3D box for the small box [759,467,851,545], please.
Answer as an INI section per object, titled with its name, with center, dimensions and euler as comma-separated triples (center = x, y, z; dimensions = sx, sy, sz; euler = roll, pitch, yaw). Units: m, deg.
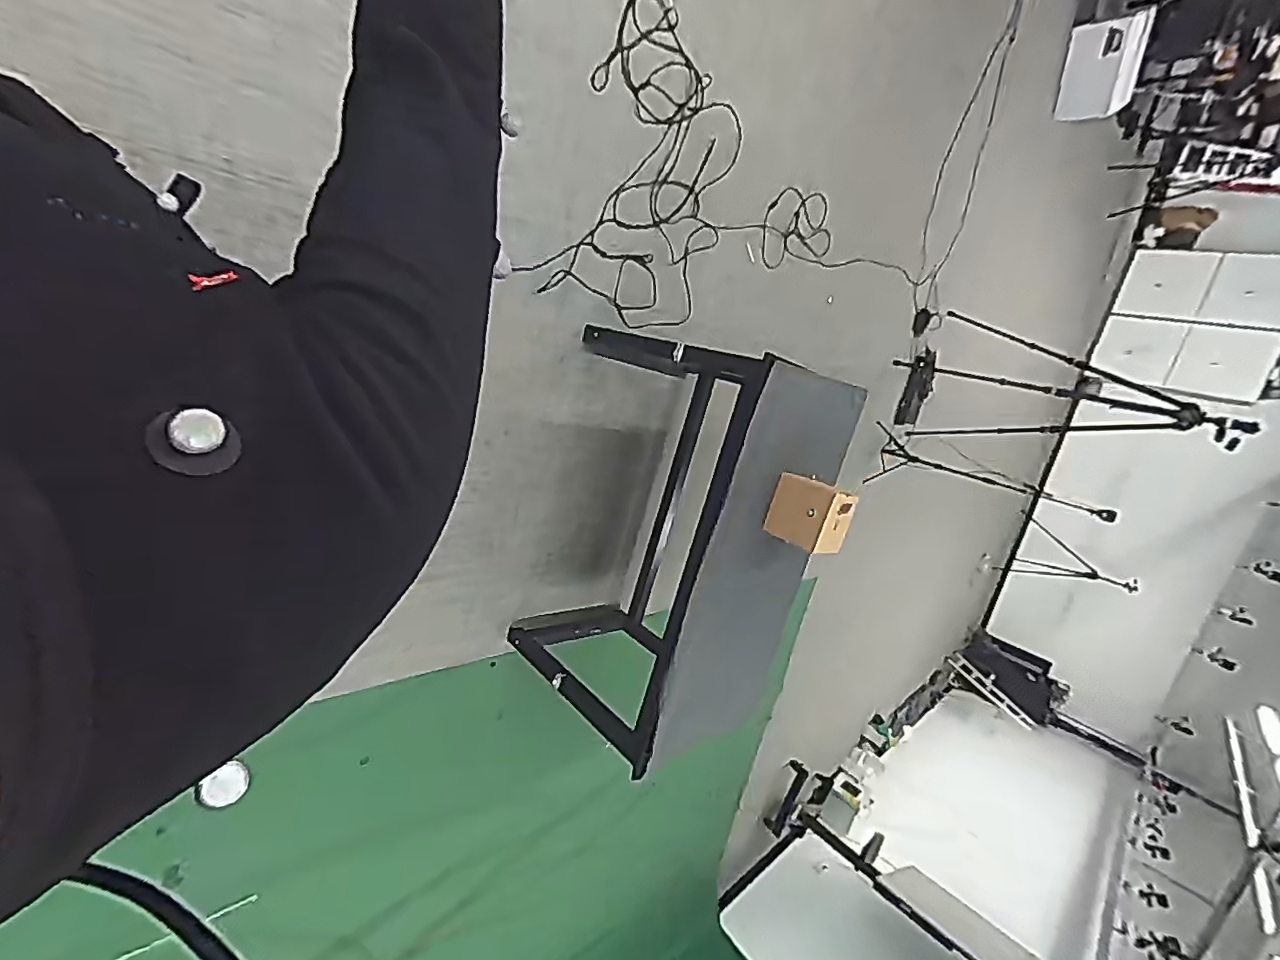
[small box]
center = 0.466, 0.072, 1.541
dimensions = 0.168, 0.176, 0.179
euler = 7, 104, -47
